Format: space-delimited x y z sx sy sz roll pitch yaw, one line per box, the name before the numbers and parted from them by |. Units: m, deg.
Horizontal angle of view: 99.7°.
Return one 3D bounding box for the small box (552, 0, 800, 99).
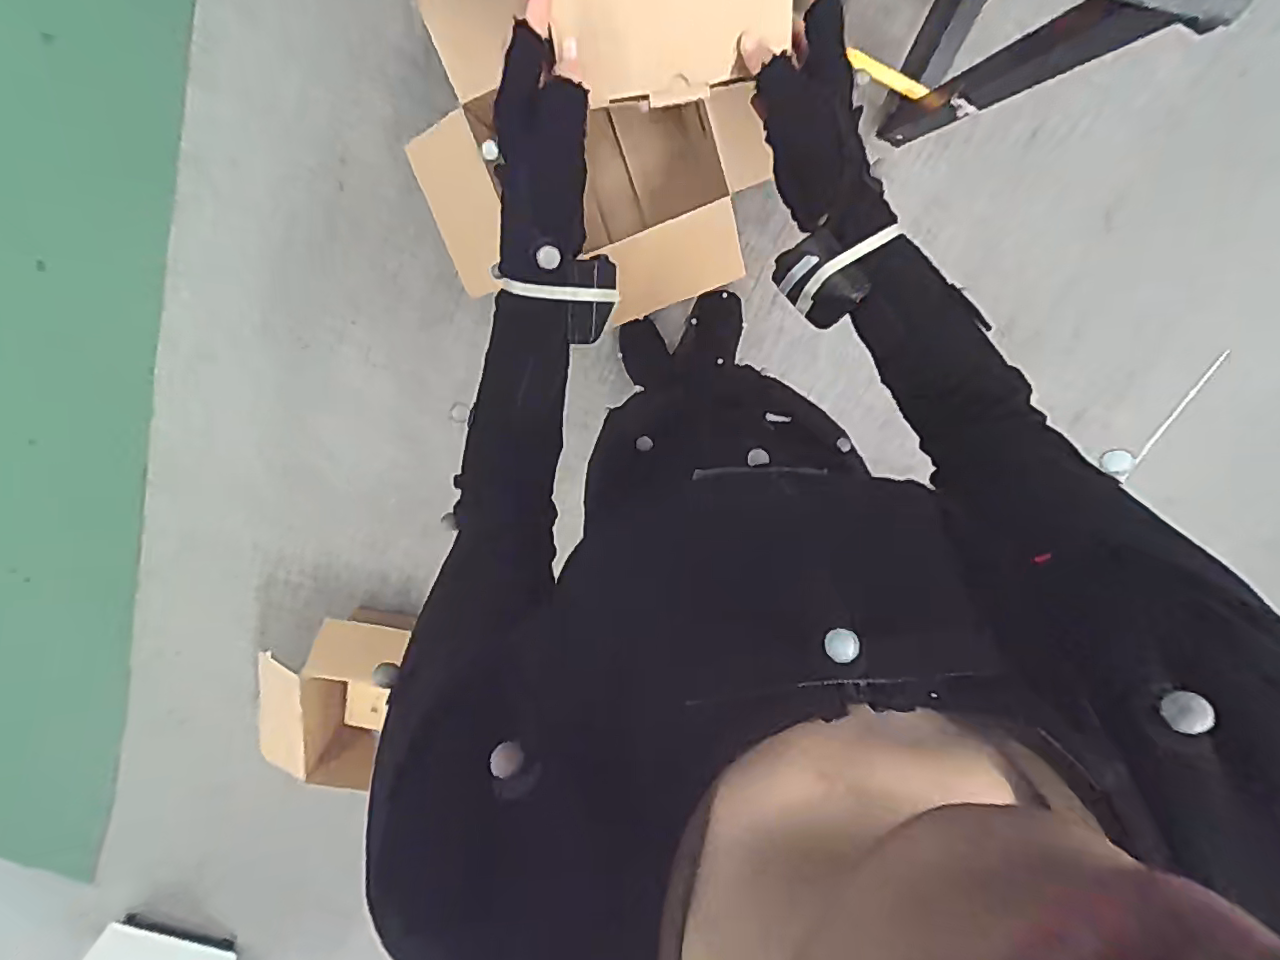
small box | 0.012 -0.399 0.396 0.168 0.176 0.179 -10 128 0
